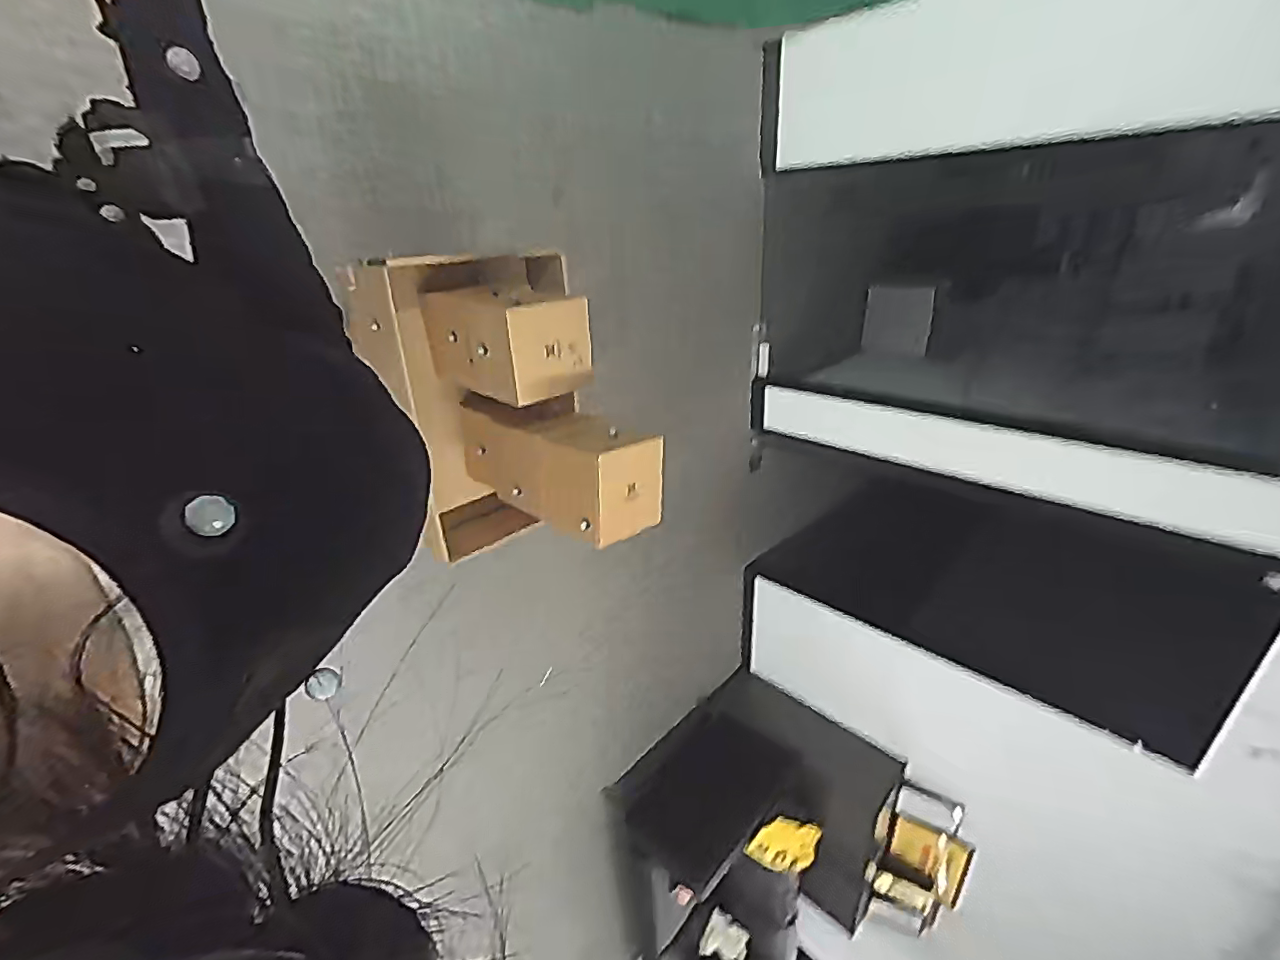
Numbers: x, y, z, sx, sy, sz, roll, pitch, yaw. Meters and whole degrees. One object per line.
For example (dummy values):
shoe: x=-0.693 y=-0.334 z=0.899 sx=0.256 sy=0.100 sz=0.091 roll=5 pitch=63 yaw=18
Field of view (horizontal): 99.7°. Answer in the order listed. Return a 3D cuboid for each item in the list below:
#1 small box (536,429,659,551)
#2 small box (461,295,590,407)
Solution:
small box: x=-0.083 y=0.008 z=1.024 sx=0.168 sy=0.176 sz=0.179 roll=-19 pitch=119 yaw=-43
small box: x=-0.215 y=-0.248 z=1.008 sx=0.179 sy=0.176 sz=0.168 roll=-24 pitch=125 yaw=-39
